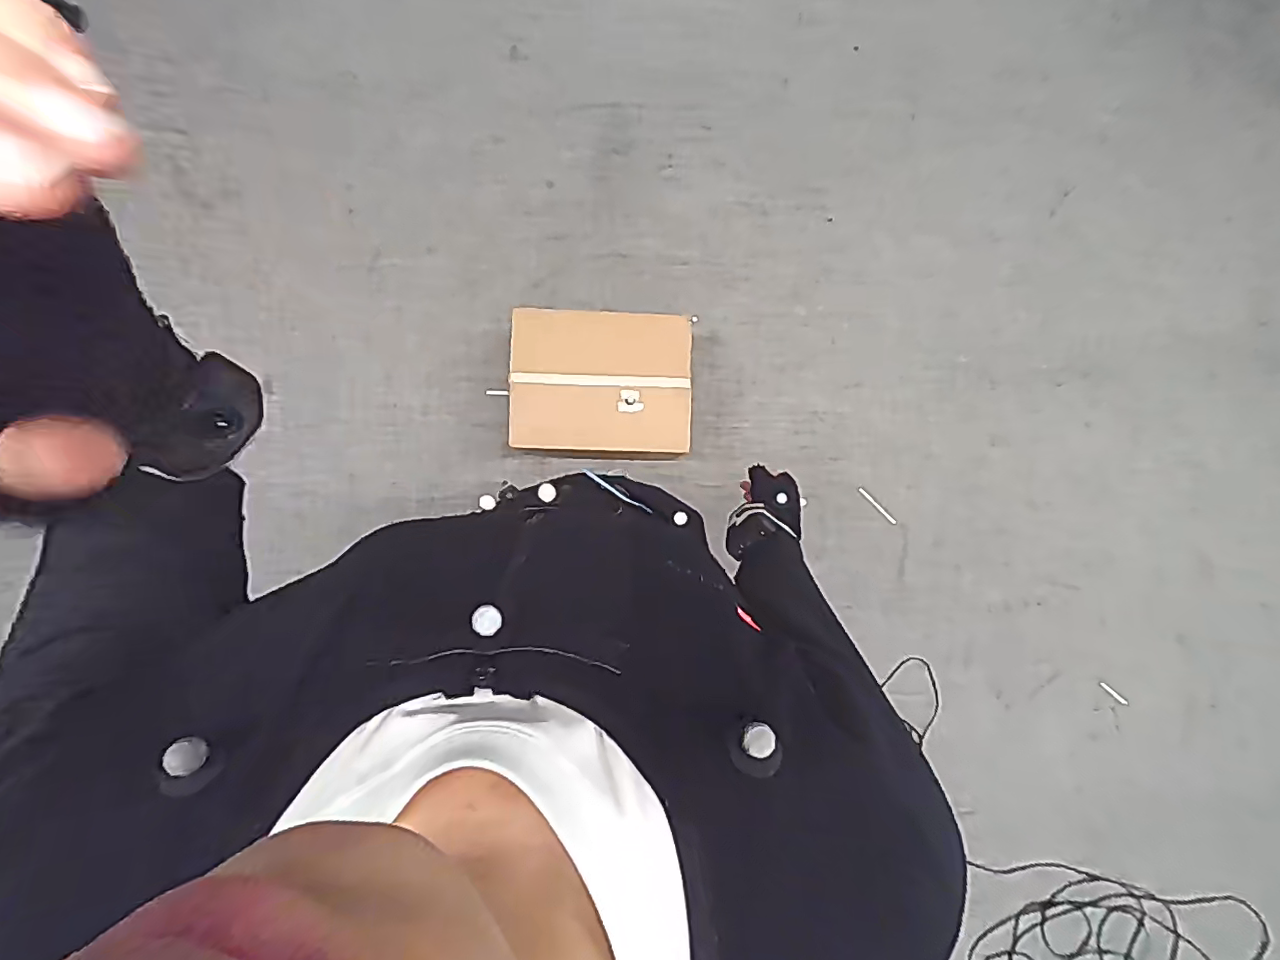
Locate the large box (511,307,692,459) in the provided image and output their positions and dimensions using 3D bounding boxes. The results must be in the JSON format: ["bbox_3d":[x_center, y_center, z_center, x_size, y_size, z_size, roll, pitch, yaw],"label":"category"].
[{"bbox_3d":[-0.094,-0.220,1.351,0.408,0.320,0.320,2,89,-3],"label":"large box"}]
